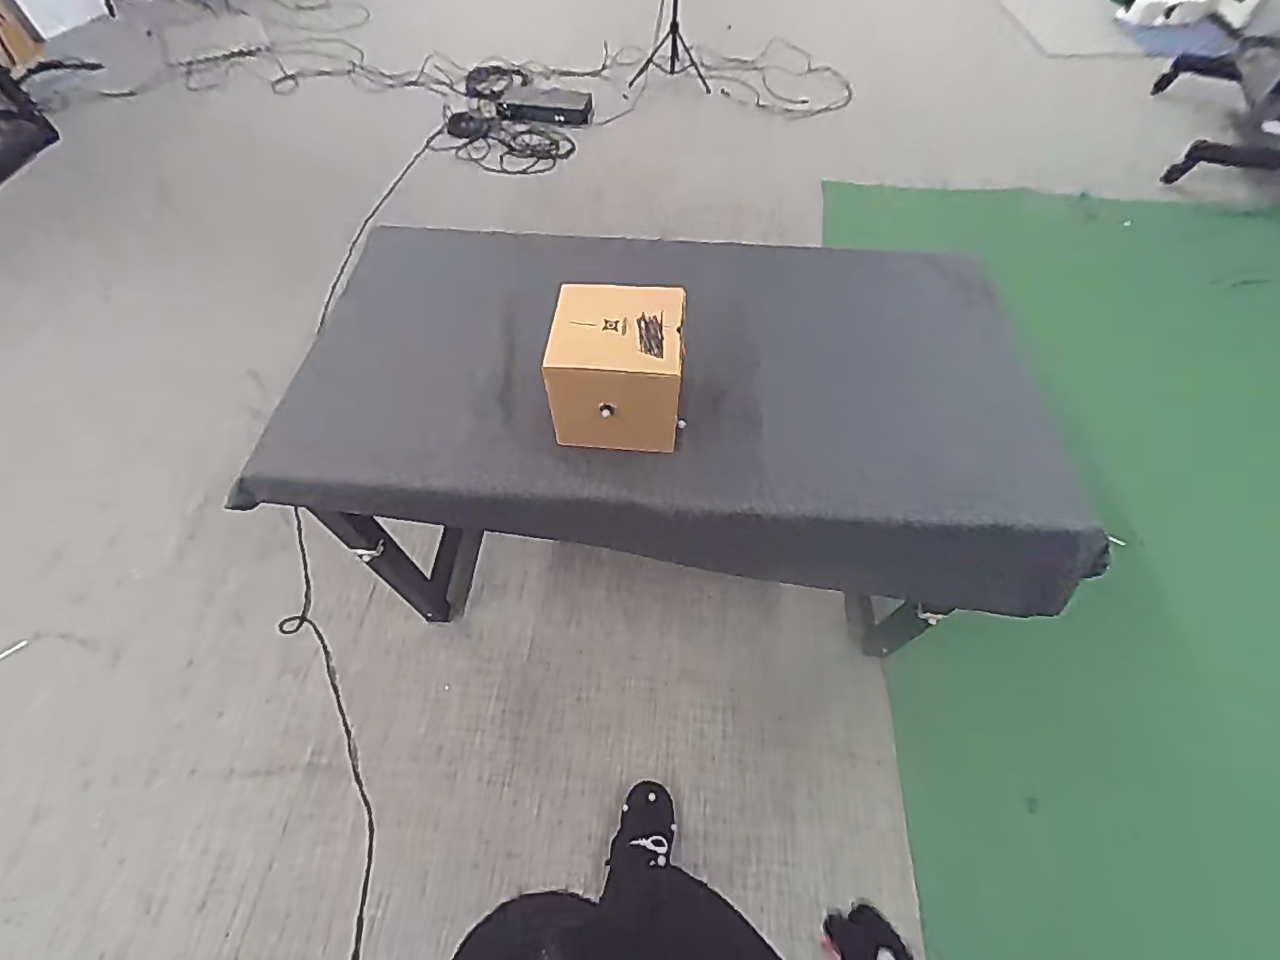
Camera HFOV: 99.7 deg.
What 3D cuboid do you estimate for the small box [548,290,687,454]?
[{"bbox_3d":[-0.028,-0.150,0.785,0.179,0.176,0.168,2,58,0],"label":"small box"}]
